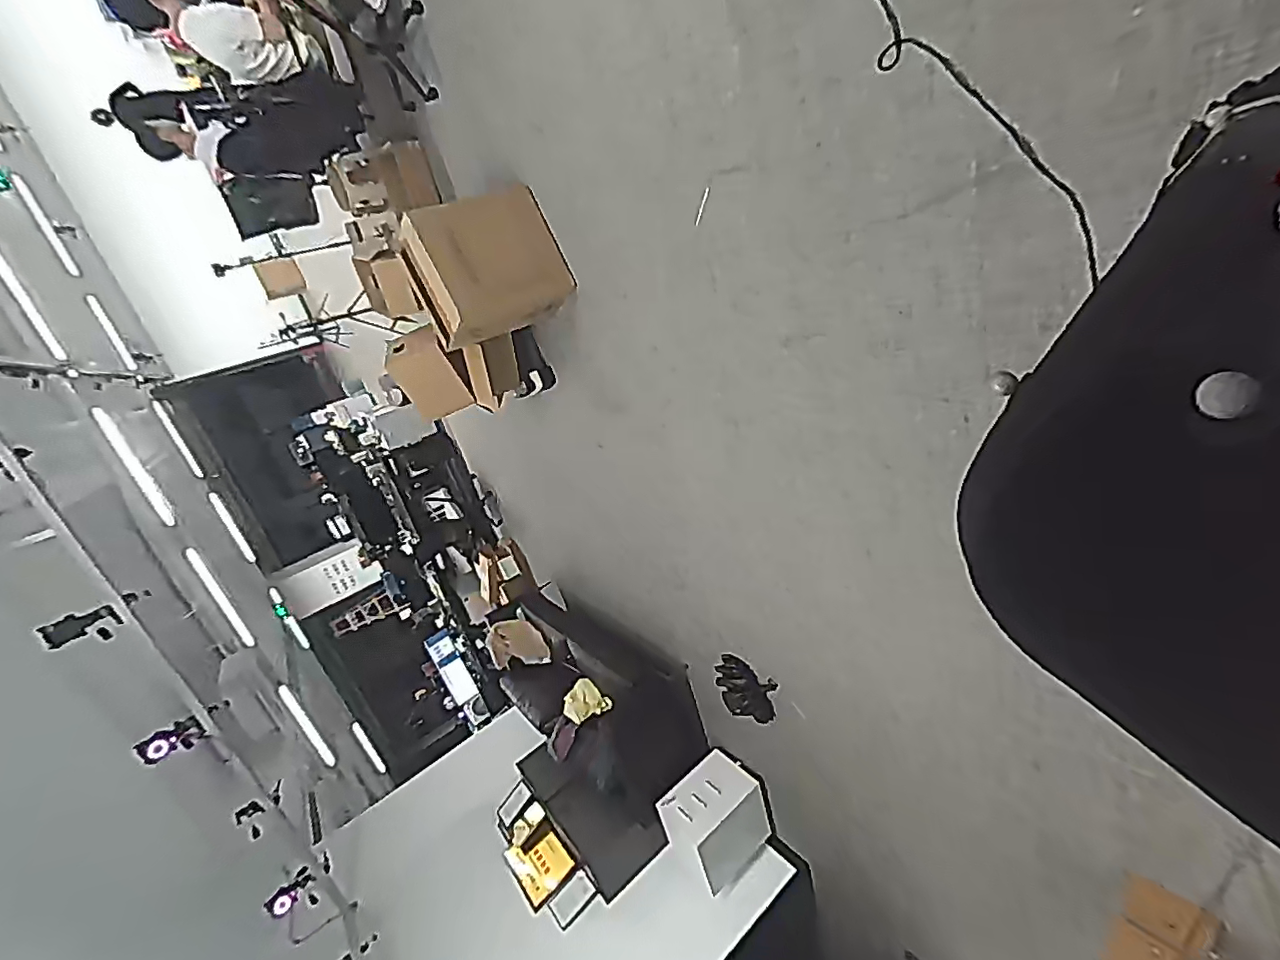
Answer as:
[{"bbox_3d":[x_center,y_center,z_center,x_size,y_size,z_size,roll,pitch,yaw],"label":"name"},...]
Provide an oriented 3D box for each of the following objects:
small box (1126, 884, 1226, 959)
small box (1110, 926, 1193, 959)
[{"bbox_3d":[1.551,1.330,1.570,0.179,0.176,0.168,12,125,52],"label":"small box"},{"bbox_3d":[1.423,1.389,1.488,0.179,0.176,0.168,16,128,53],"label":"small box"}]
